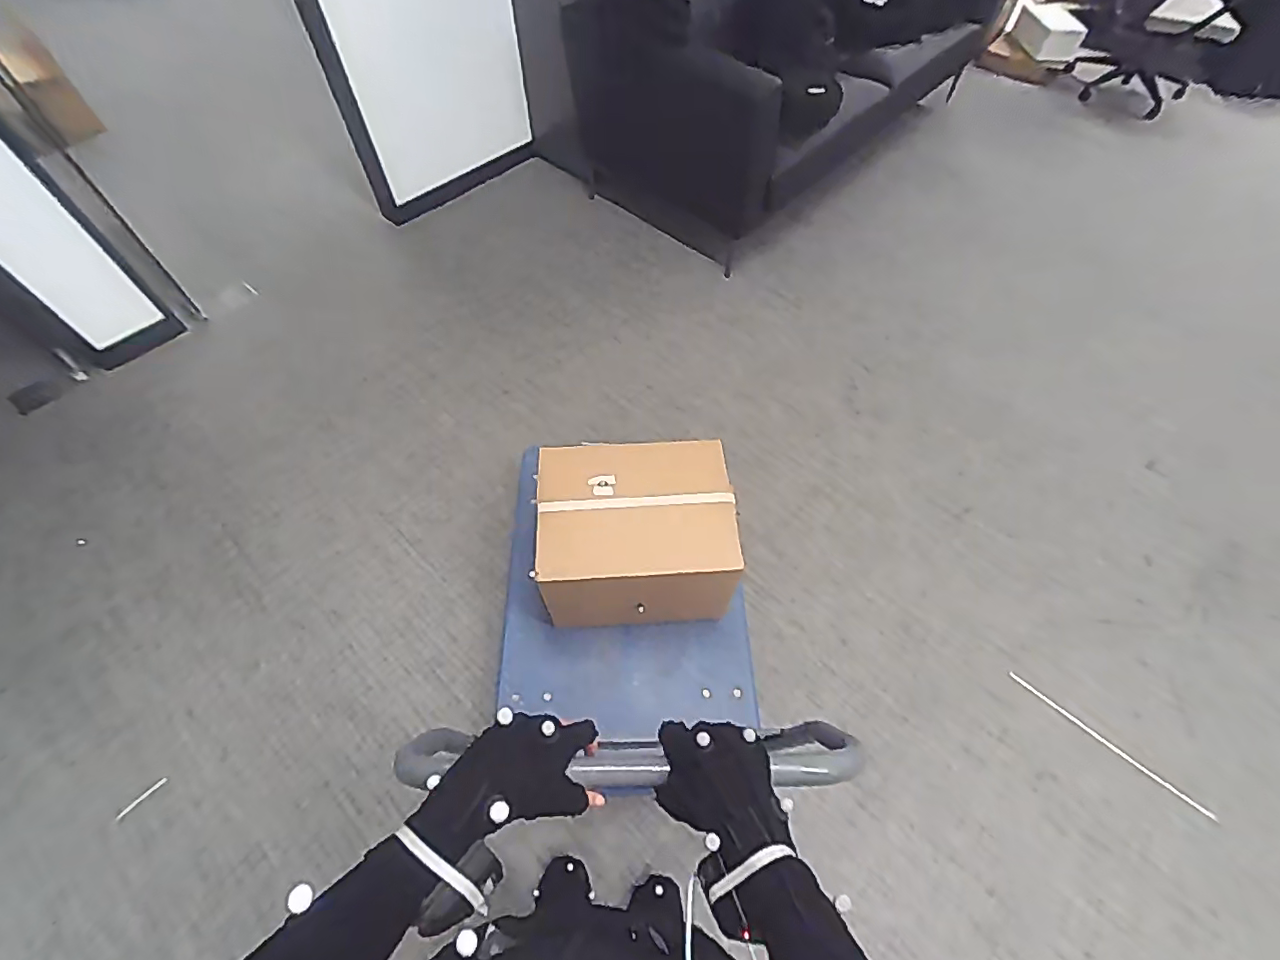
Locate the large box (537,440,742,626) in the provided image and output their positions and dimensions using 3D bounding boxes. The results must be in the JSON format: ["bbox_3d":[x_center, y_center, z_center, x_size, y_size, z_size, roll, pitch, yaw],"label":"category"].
[{"bbox_3d":[-0.011,0.131,1.242,0.408,0.320,0.320,-3,58,-3],"label":"large box"}]
